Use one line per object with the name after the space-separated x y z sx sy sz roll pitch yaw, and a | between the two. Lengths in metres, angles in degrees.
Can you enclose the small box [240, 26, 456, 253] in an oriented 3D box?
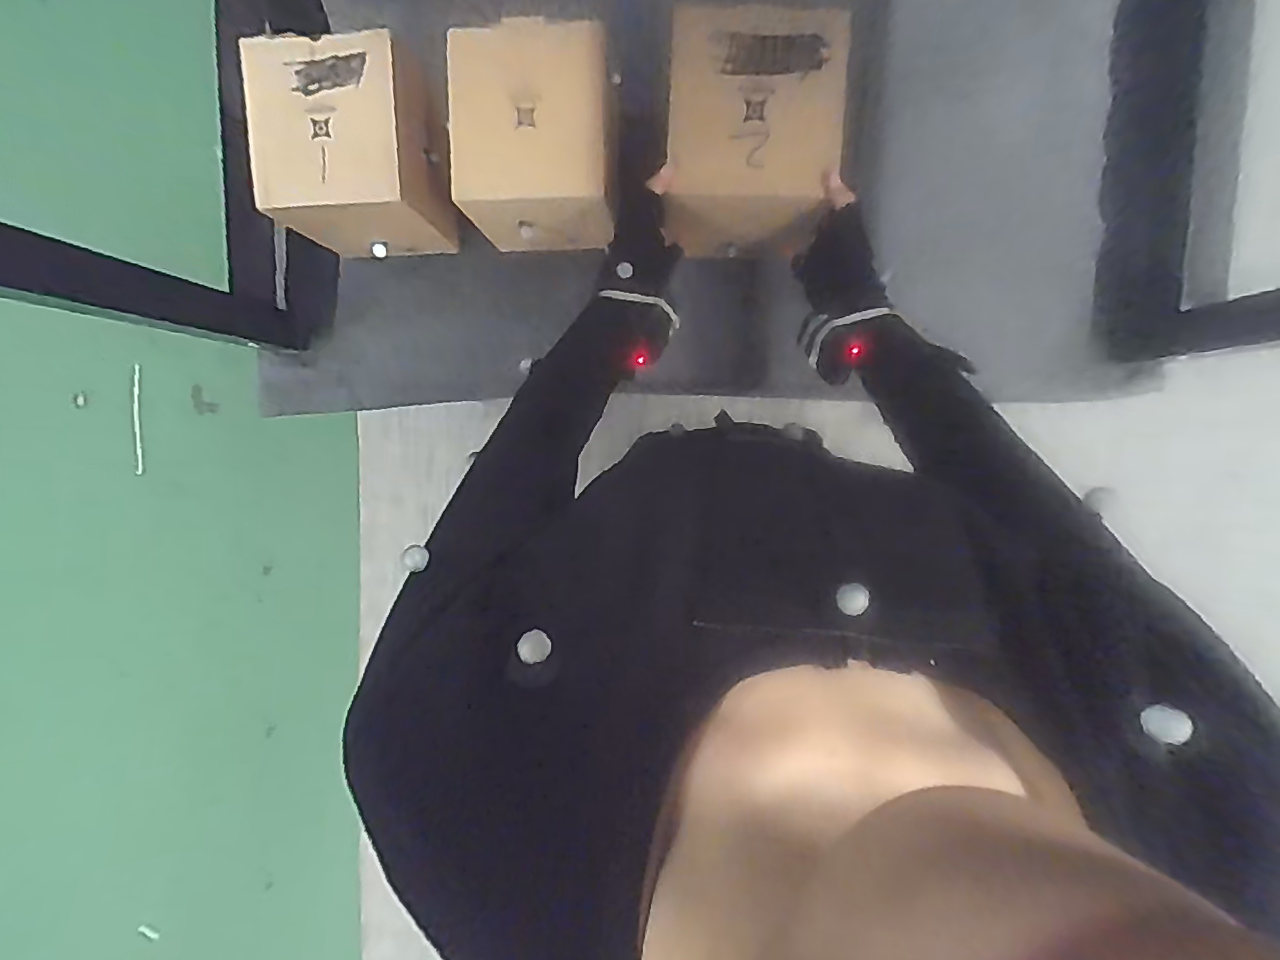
-0.335 -0.391 0.651 0.168 0.176 0.179 -1 95 4 | small box
